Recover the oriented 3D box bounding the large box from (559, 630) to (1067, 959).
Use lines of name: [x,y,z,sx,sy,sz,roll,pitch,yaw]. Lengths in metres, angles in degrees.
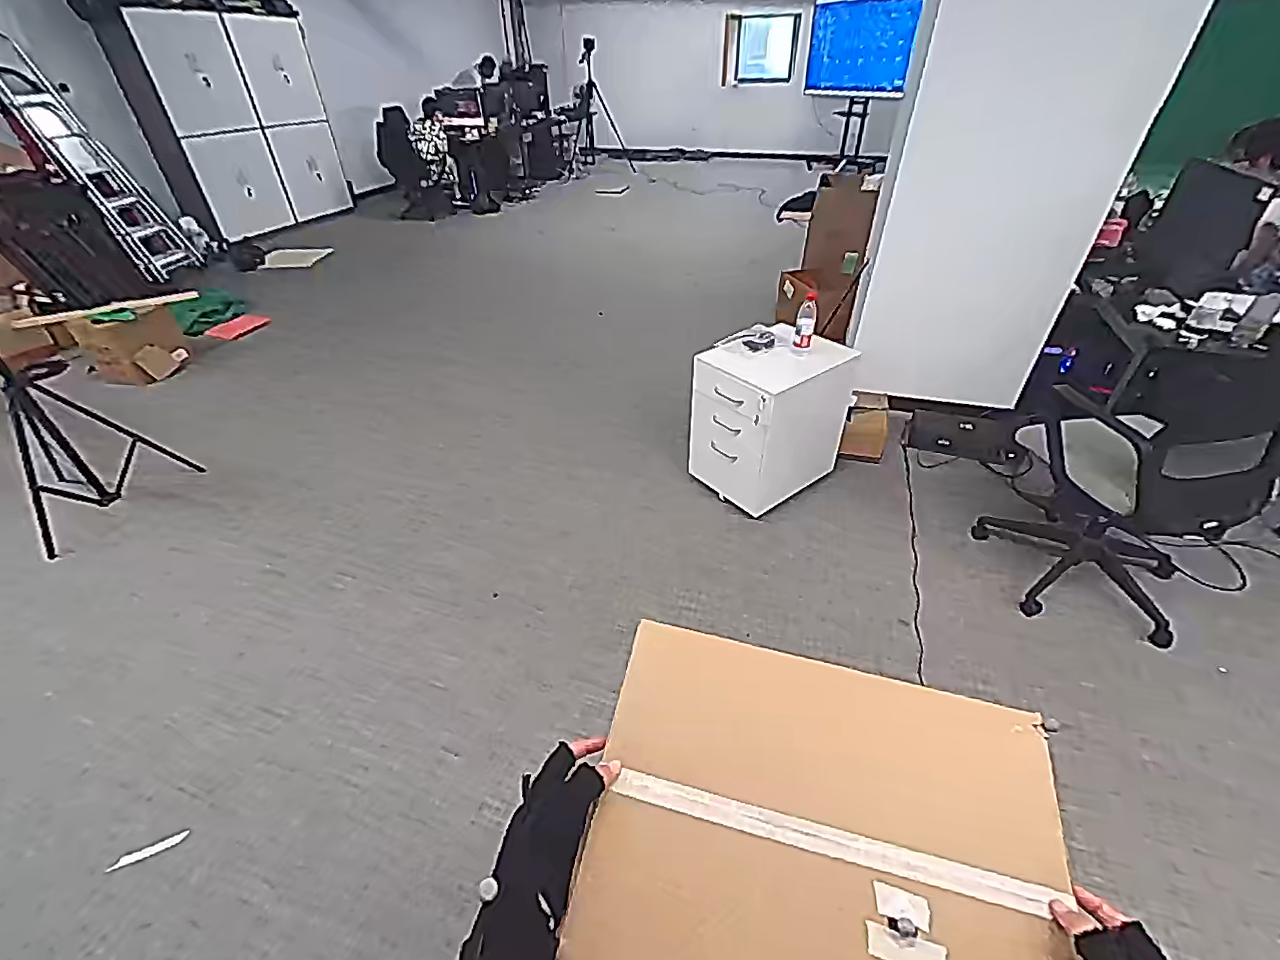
large box: [0.160,0.409,0.604,0.408,0.320,0.320,11,55,10]
